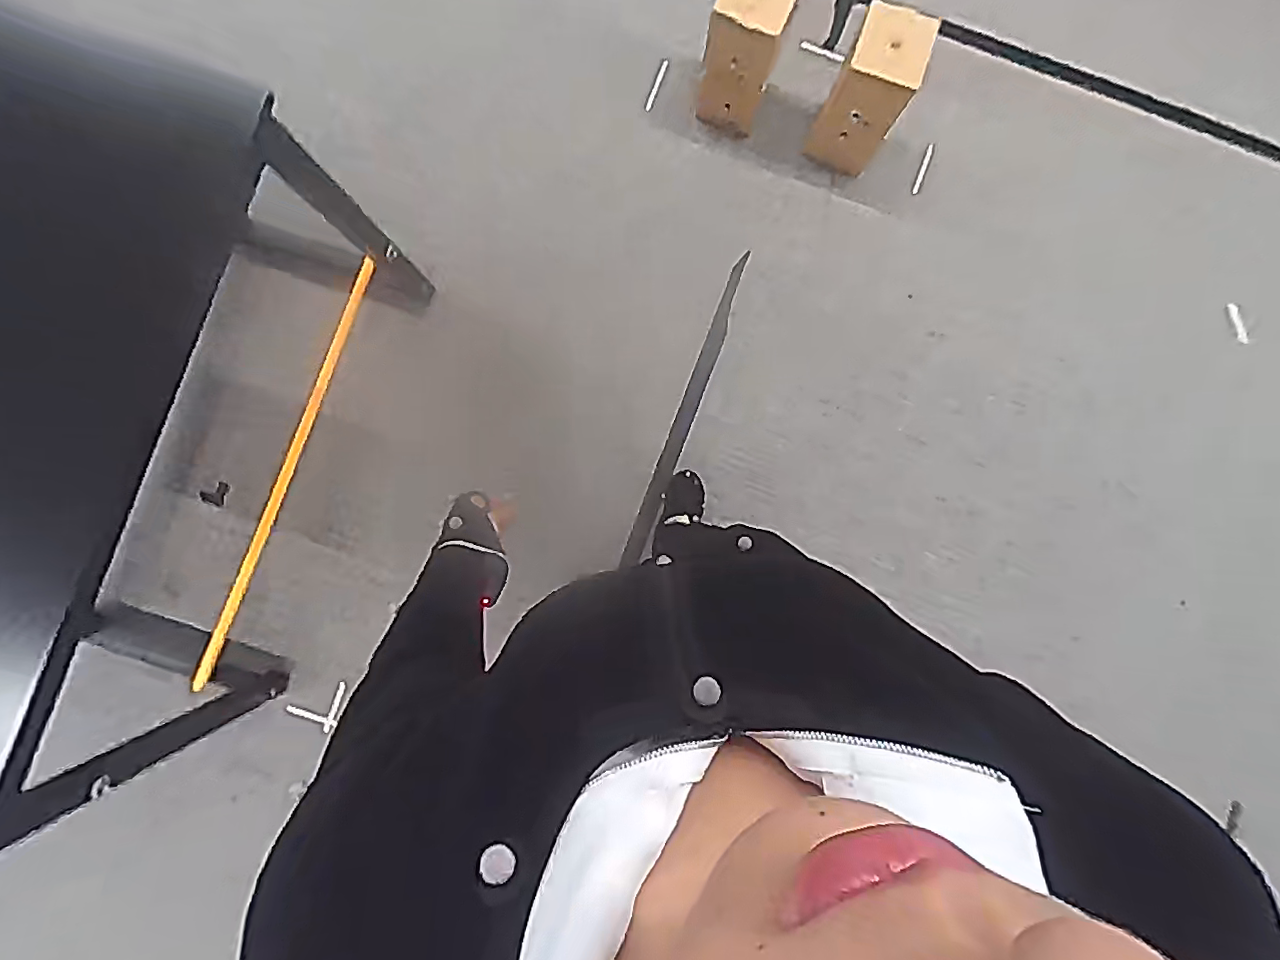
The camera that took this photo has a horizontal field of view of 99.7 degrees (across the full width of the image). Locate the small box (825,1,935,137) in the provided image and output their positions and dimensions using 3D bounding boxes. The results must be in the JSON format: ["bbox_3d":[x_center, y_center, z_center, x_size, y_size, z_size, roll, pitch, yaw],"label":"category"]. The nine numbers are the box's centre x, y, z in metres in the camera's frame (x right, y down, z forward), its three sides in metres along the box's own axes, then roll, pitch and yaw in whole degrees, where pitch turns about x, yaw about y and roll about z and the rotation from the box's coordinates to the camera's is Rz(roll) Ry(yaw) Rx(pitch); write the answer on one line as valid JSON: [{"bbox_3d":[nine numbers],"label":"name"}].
[{"bbox_3d":[0.571,-0.986,1.311,0.168,0.176,0.179,18,89,1],"label":"small box"}]

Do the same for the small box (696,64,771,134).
[{"bbox_3d":[0.256,-1.090,1.468,0.168,0.176,0.179,19,88,0],"label":"small box"}]

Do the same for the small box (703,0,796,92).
[{"bbox_3d":[0.262,-1.098,1.302,0.168,0.176,0.179,25,88,0],"label":"small box"}]

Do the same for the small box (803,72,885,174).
[{"bbox_3d":[0.571,-0.978,1.474,0.179,0.176,0.168,23,88,-2],"label":"small box"}]
